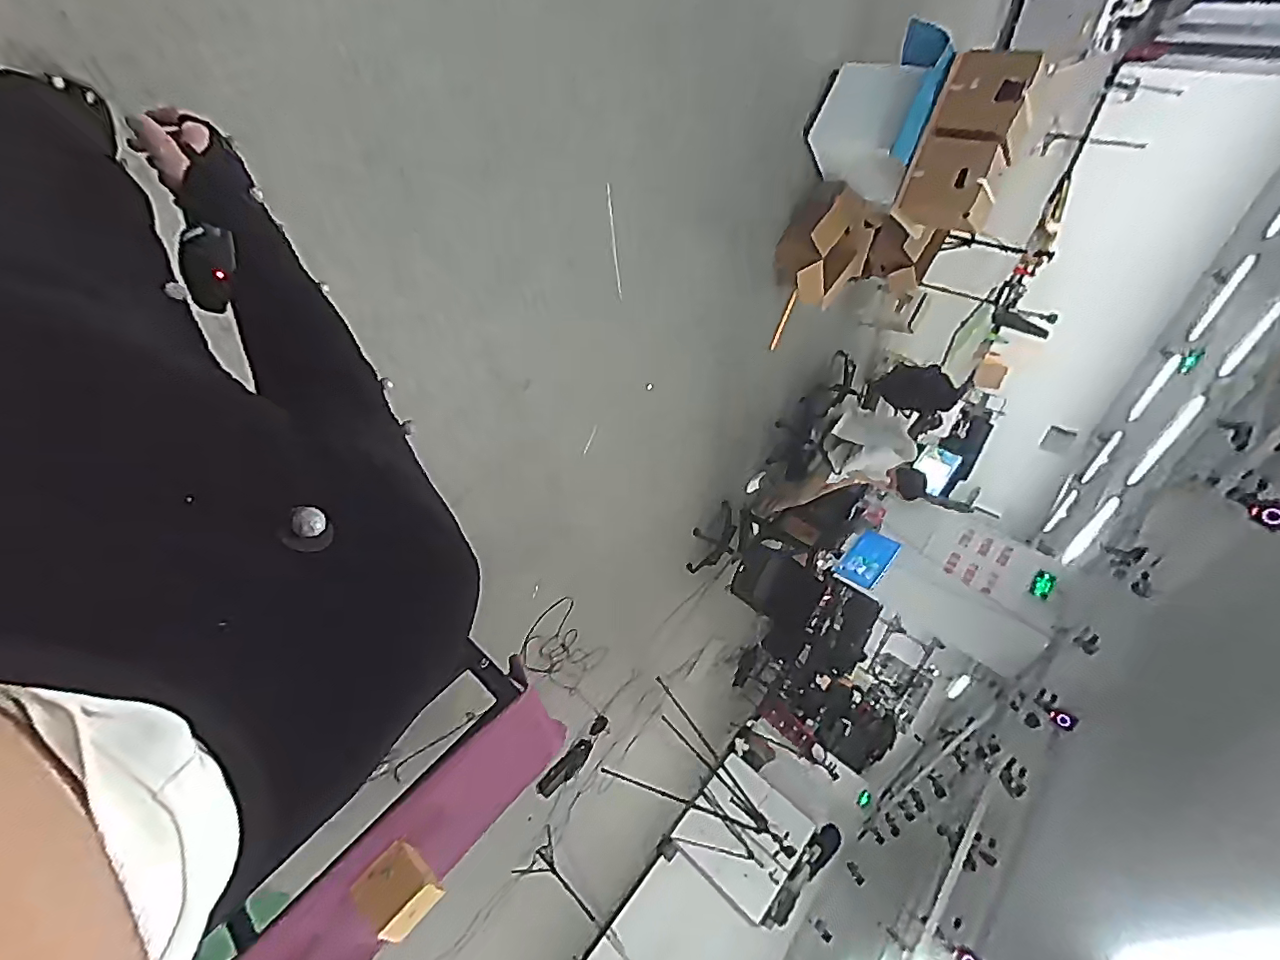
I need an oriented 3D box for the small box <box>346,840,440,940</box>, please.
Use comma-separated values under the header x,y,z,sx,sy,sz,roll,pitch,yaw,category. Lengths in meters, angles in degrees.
x,y,z,sx,sy,sz,roll,pitch,yaw,category
-0.736,1.220,1.615,0.168,0.176,0.179,-39,145,-30,small box
